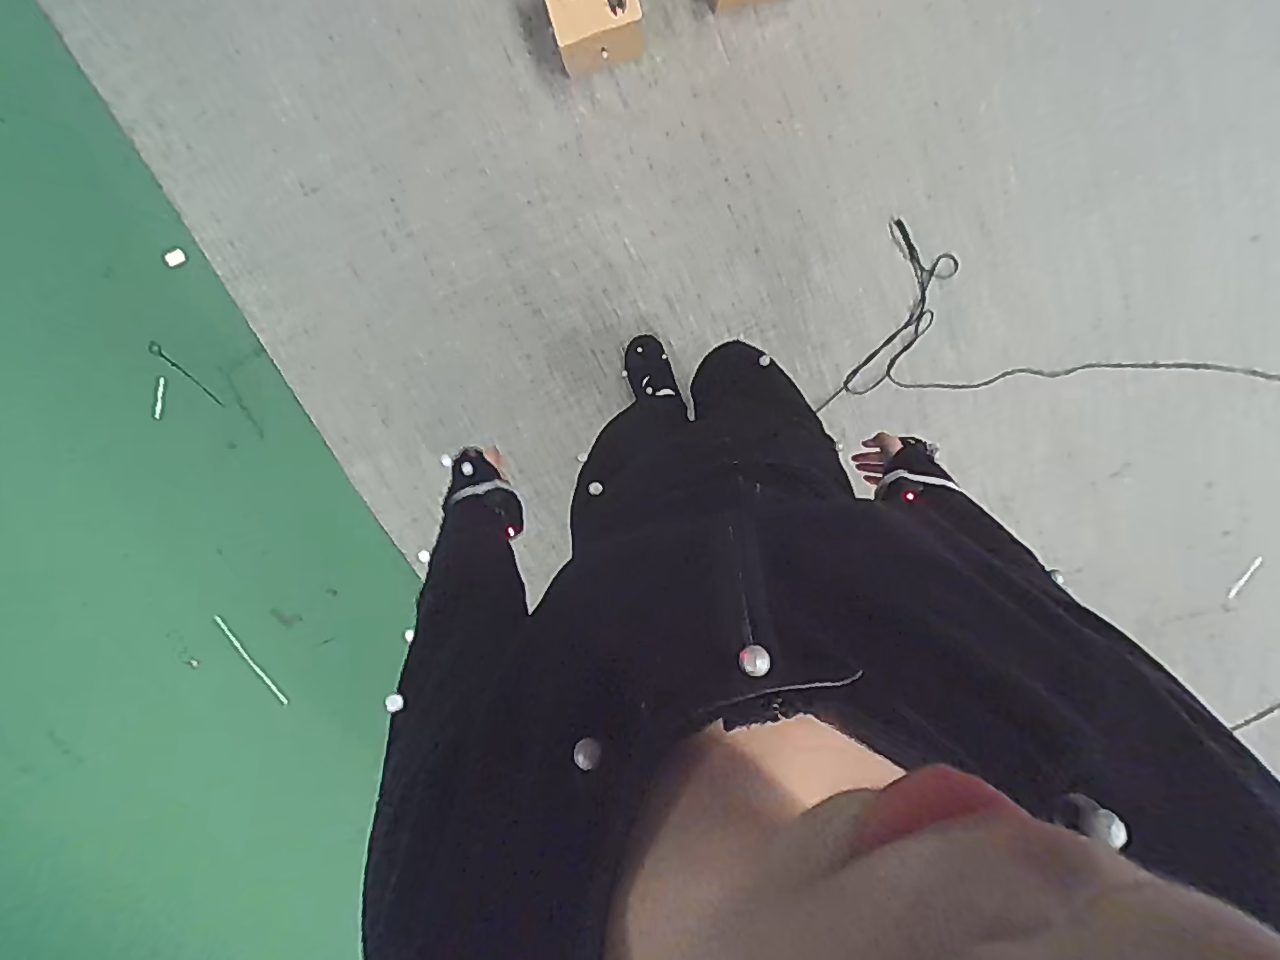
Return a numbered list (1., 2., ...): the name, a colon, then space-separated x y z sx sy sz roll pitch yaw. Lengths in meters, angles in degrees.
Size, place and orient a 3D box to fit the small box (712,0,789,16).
1. small box: 0.232 -1.067 1.071 0.179 0.176 0.168 -8 108 3
